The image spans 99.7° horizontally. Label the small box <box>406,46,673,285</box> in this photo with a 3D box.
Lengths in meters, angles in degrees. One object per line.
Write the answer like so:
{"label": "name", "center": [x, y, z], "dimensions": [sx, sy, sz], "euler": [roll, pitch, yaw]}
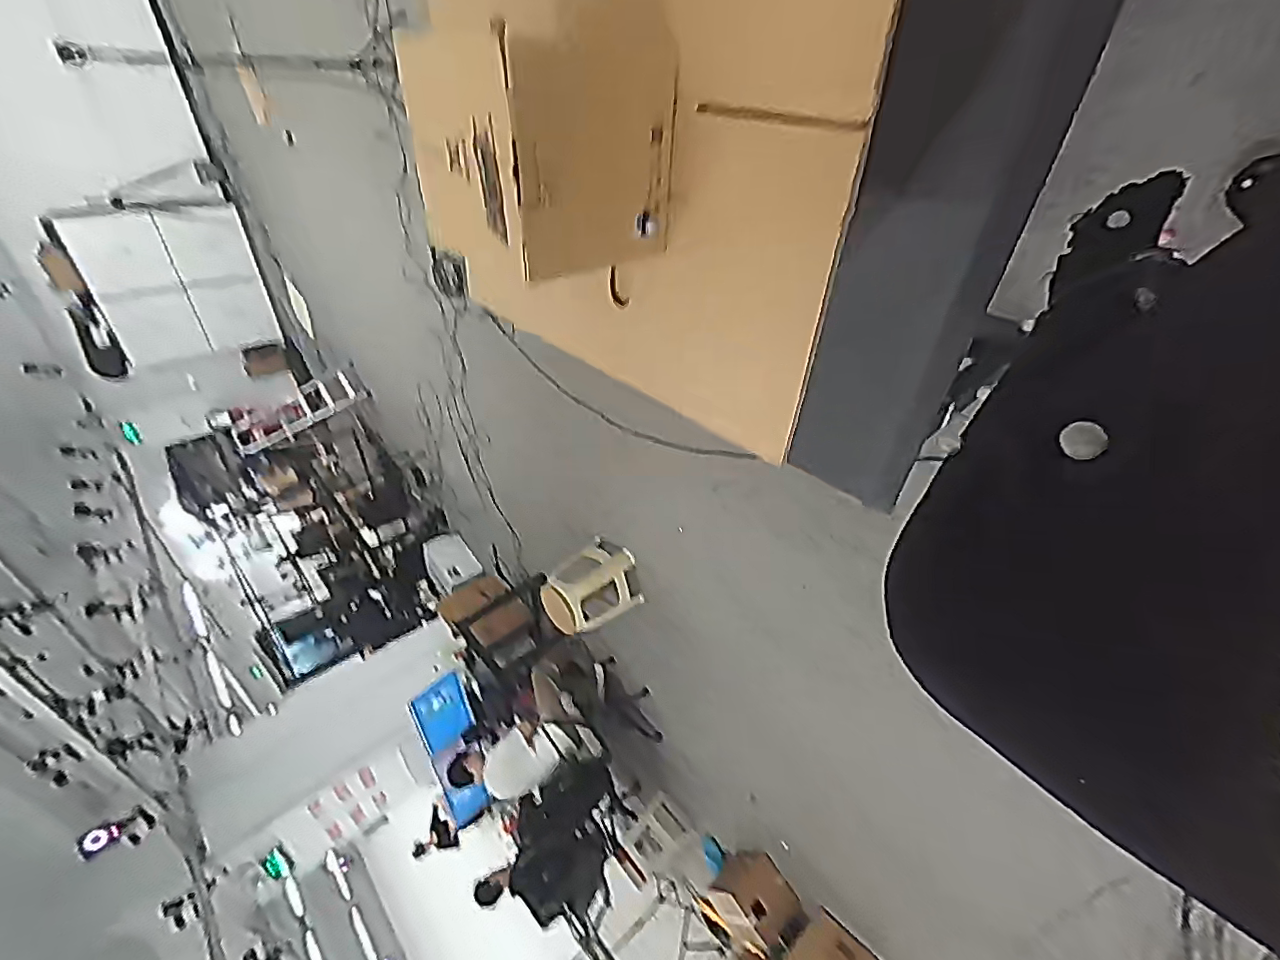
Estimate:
{"label": "small box", "center": [-0.086, -0.303, 0.511], "dimensions": [0.179, 0.176, 0.168], "euler": [35, 137, 35]}
